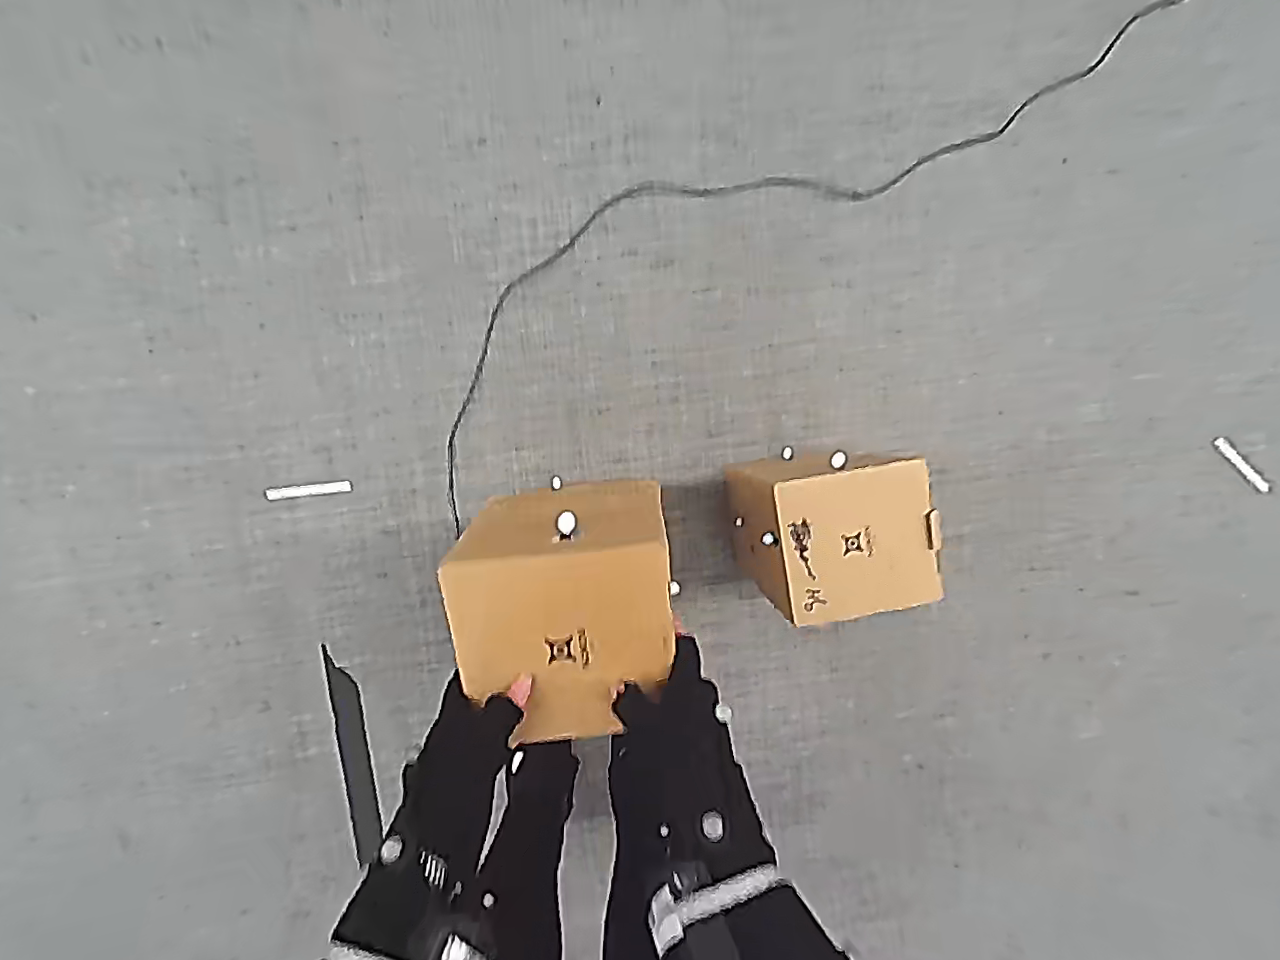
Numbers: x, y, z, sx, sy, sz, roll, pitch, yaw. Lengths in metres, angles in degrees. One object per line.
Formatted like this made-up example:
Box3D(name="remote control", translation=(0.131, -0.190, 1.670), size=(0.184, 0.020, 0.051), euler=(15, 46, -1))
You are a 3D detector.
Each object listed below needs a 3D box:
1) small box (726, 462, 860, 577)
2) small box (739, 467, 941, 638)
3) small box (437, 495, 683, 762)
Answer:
Box3D(name="small box", translation=(0.238, 0.068, 0.843), size=(0.168, 0.176, 0.179), euler=(-9, 95, -1))
Box3D(name="small box", translation=(0.238, 0.078, 0.678), size=(0.179, 0.176, 0.168), euler=(-9, 94, -3))
Box3D(name="small box", translation=(-0.059, 0.120, 0.490), size=(0.179, 0.176, 0.168), euler=(-5, 107, -1))
